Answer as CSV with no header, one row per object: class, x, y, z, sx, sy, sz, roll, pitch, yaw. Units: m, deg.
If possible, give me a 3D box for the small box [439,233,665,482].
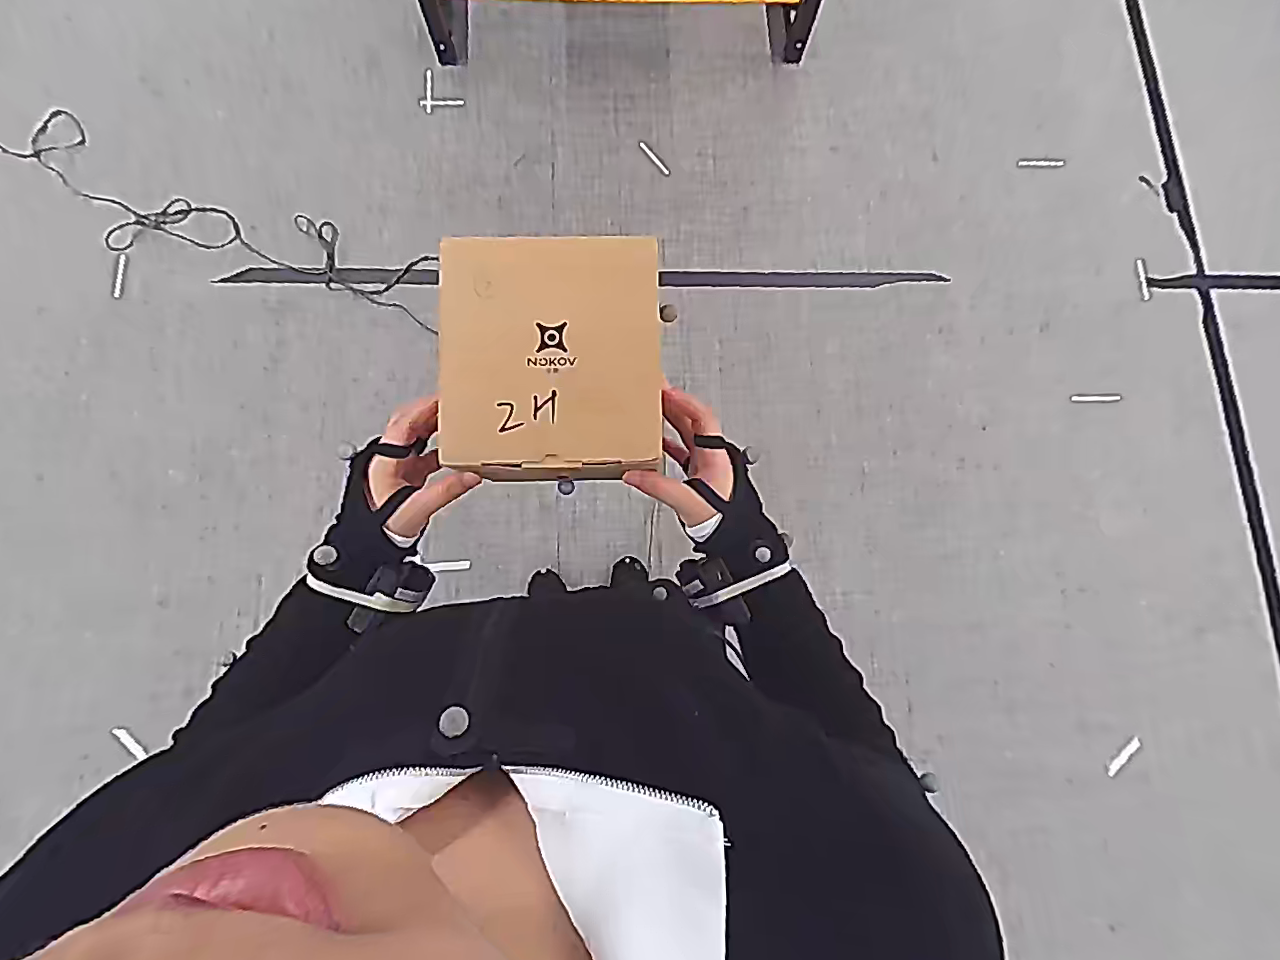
small box,-0.067,-0.092,0.478,0.168,0.176,0.179,-1,86,-2
